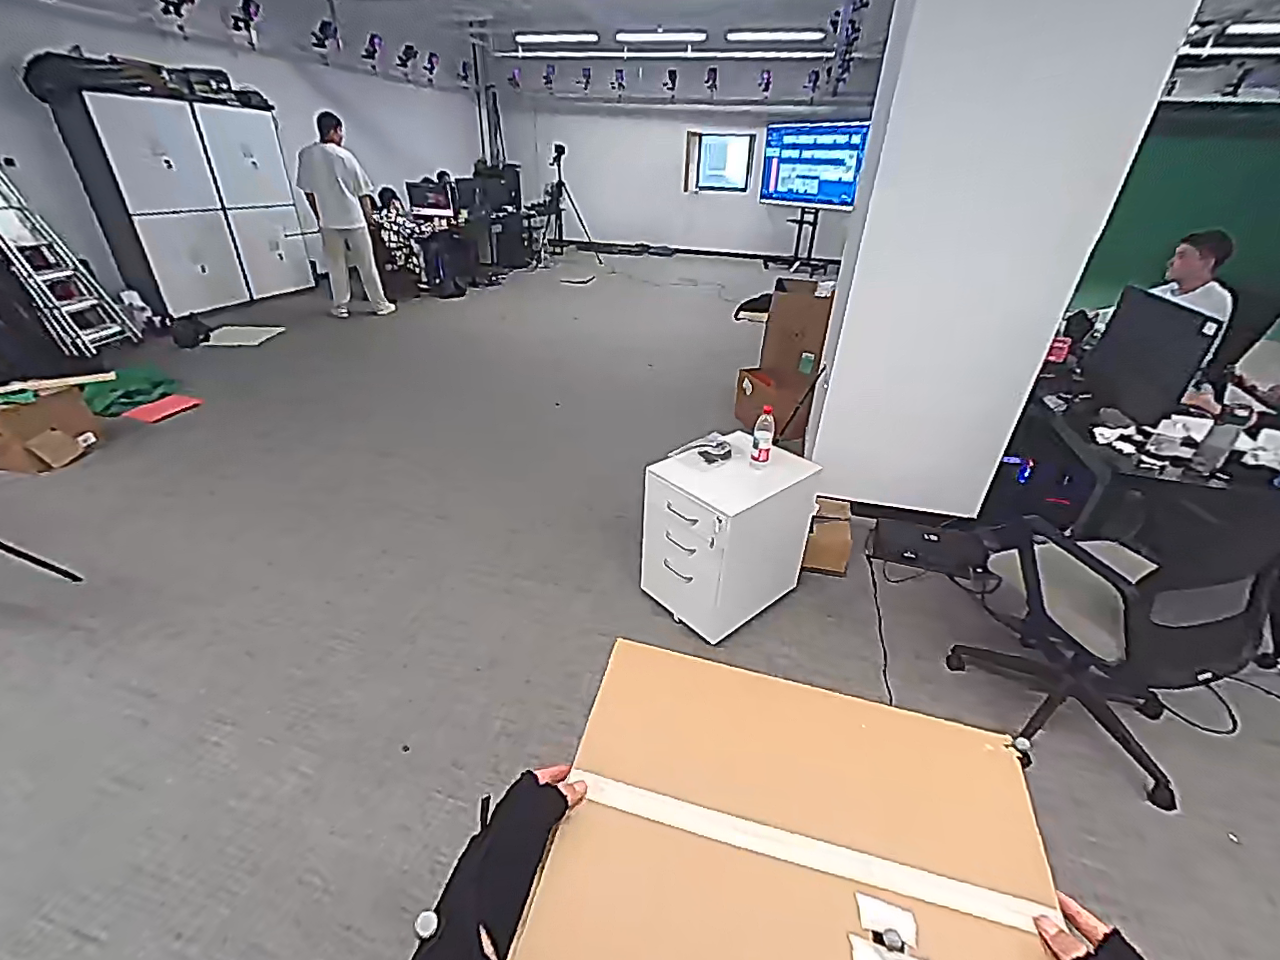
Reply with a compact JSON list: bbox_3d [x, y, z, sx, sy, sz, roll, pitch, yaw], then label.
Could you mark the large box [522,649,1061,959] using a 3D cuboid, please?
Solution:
[{"bbox_3d":[0.124,0.430,0.551,0.408,0.320,0.320,12,40,9],"label":"large box"}]
